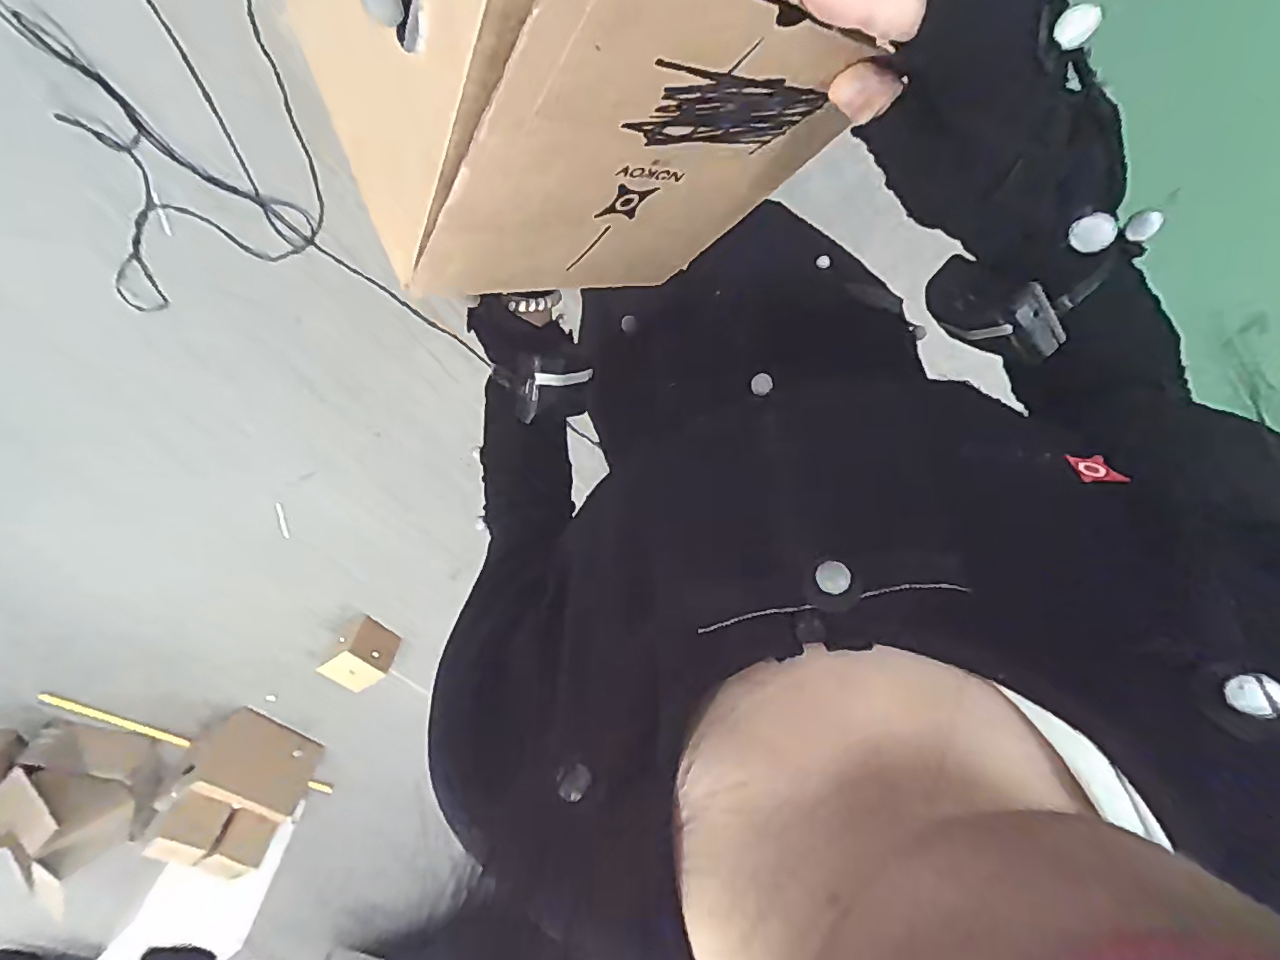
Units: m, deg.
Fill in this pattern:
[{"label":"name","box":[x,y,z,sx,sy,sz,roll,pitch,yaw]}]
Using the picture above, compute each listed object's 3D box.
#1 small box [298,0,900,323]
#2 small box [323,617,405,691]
[{"label":"small box","box":[-0.034,-0.195,0.237,0.168,0.176,0.179,-18,173,-36]},{"label":"small box","box":[-0.995,0.624,1.961,0.168,0.176,0.179,-32,121,18]}]
